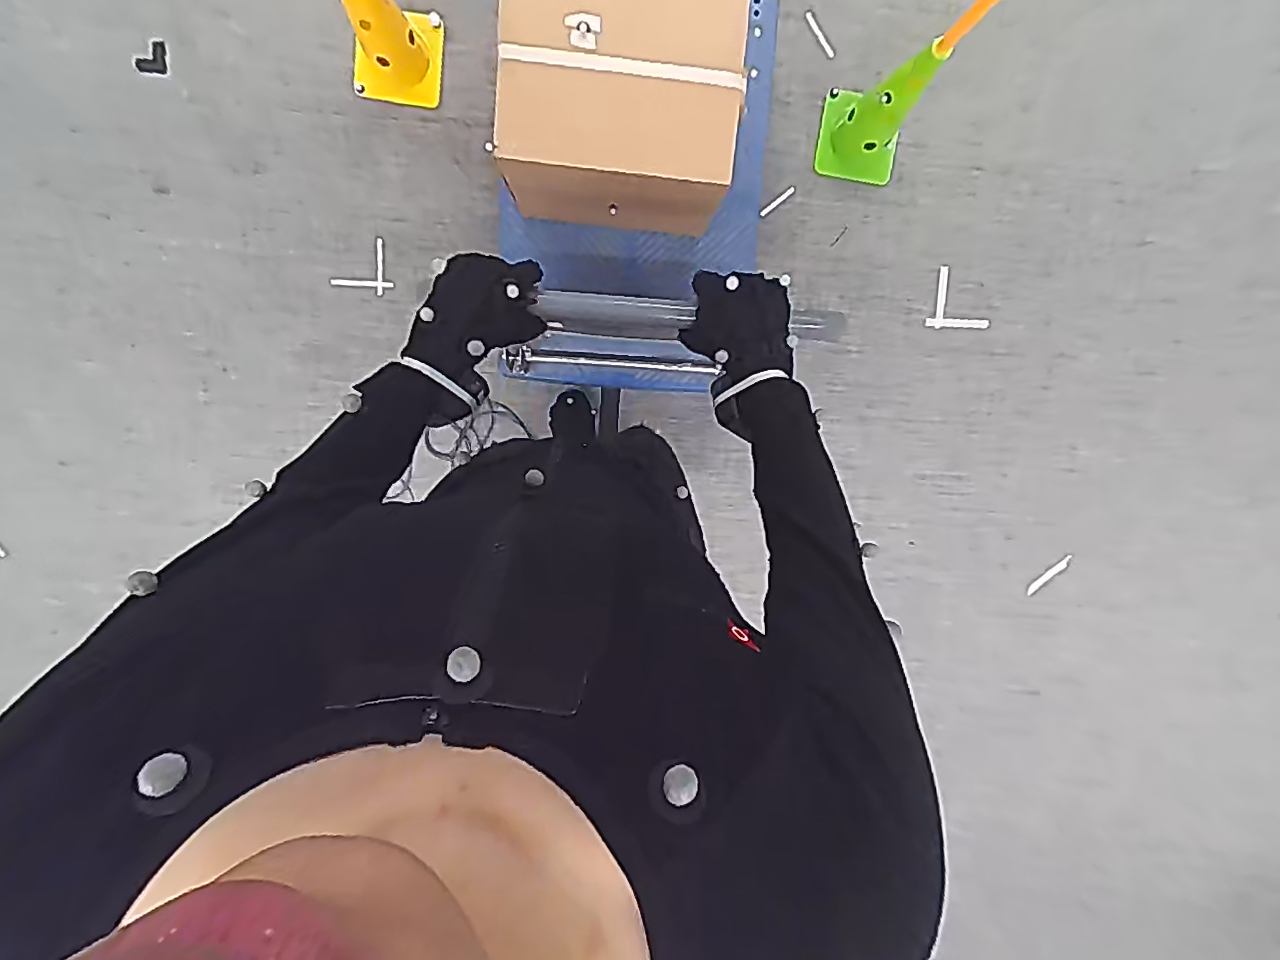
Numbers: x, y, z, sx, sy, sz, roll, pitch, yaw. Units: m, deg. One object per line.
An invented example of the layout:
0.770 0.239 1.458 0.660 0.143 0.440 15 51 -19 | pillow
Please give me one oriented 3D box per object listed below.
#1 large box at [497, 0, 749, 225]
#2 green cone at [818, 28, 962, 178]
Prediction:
-0.034 -0.703 1.032 0.408 0.320 0.320 5 99 -3 | large box
0.566 -0.848 1.185 0.202 0.368 0.200 7 99 -5 | green cone
